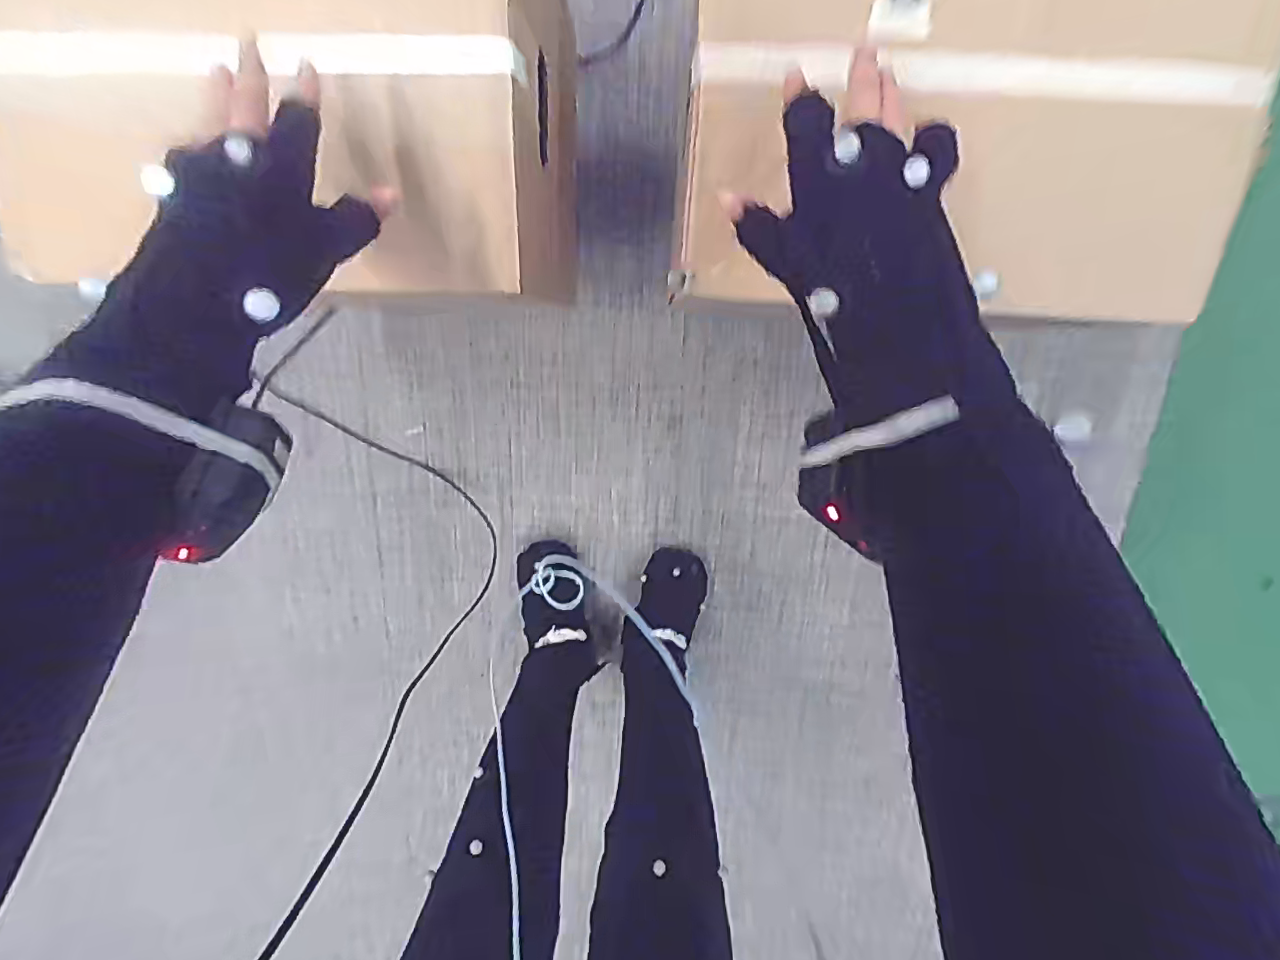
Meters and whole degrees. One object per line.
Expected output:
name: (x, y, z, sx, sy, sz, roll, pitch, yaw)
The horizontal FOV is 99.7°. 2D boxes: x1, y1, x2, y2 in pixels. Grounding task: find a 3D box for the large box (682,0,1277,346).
large box: (0.260, -0.314, 0.560, 0.408, 0.320, 0.320, 4, 105, 1)
